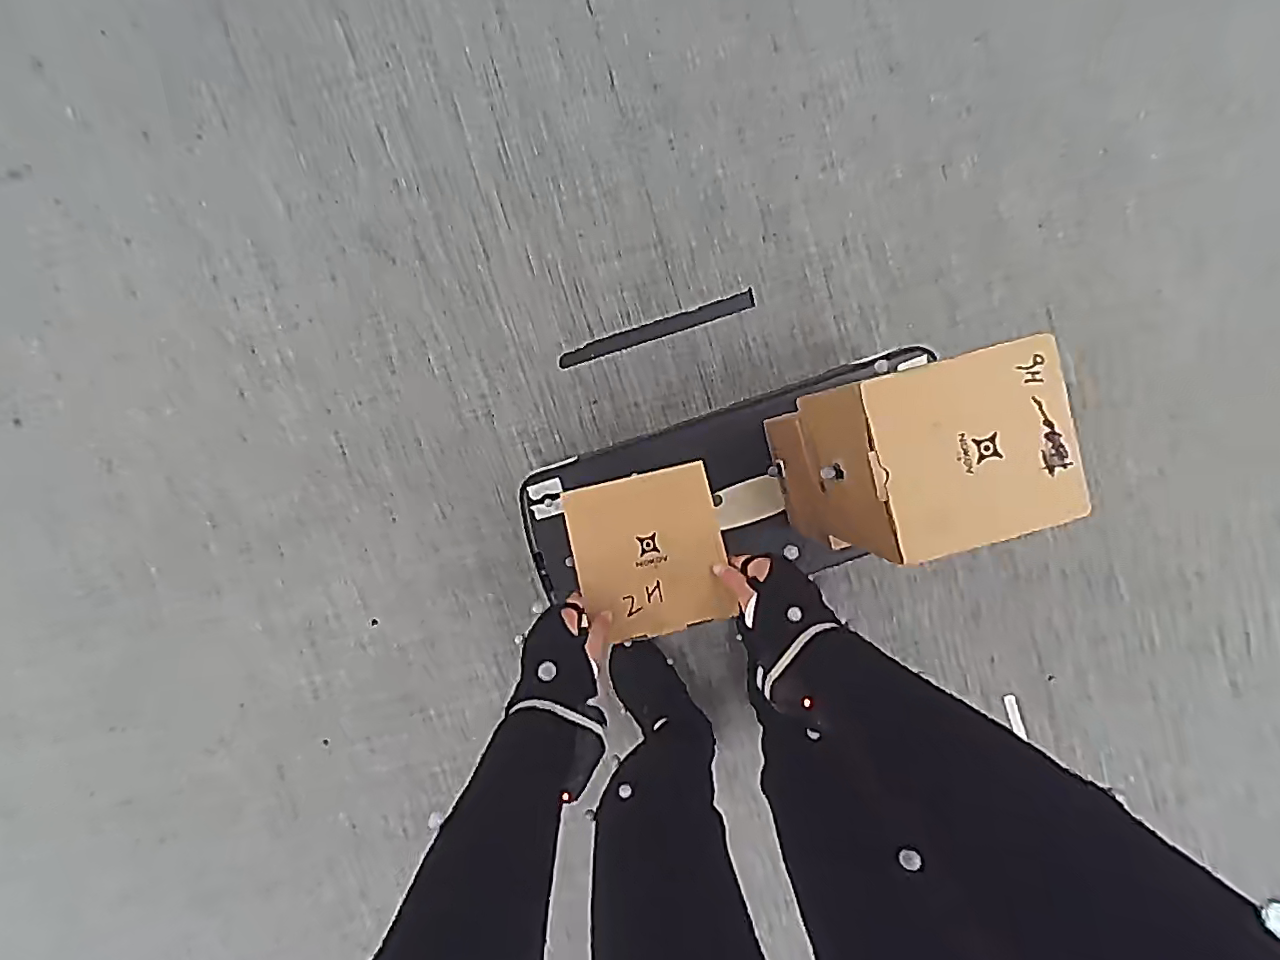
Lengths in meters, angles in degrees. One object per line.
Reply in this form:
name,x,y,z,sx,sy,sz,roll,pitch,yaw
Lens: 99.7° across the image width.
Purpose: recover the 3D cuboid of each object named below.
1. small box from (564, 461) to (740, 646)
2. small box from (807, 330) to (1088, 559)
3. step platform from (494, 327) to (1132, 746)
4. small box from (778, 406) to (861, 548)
small box,0.010,0.090,0.665,0.168,0.176,0.179,-12,82,-1
small box,0.283,-0.033,0.542,0.179,0.176,0.168,-15,94,0
step platform,0.188,0.061,0.673,0.684,0.204,0.286,-19,94,-1
small box,0.282,-0.027,0.706,0.179,0.176,0.168,-16,94,0
